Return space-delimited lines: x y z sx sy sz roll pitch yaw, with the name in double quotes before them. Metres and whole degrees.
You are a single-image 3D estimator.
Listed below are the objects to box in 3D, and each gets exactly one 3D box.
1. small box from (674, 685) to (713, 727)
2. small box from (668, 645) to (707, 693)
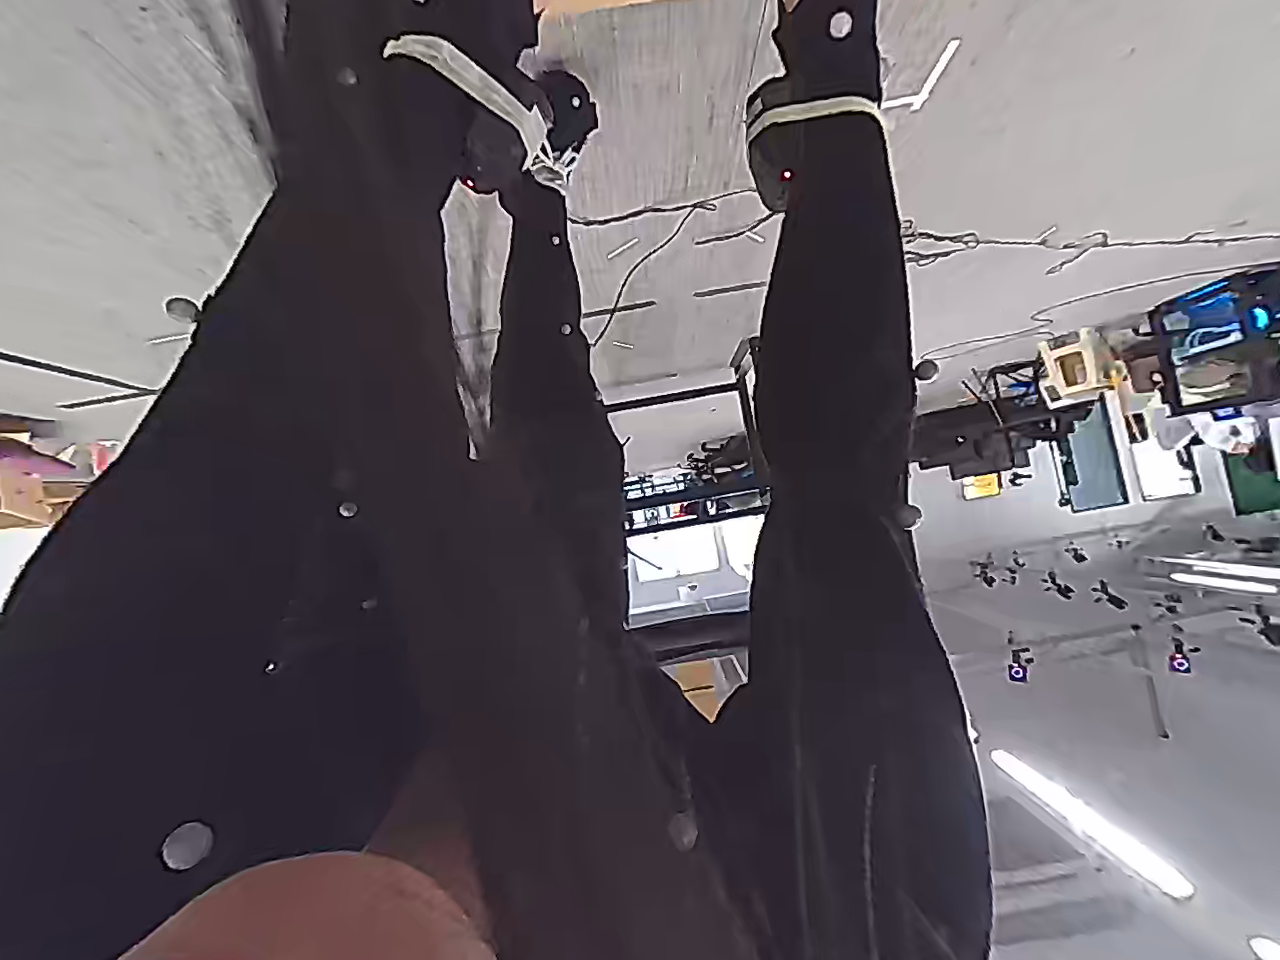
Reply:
"small box" 0.263 1.100 2.687 0.168 0.176 0.179 -9 179 3
"small box" 0.233 0.941 2.708 0.168 0.176 0.179 -10 179 1
